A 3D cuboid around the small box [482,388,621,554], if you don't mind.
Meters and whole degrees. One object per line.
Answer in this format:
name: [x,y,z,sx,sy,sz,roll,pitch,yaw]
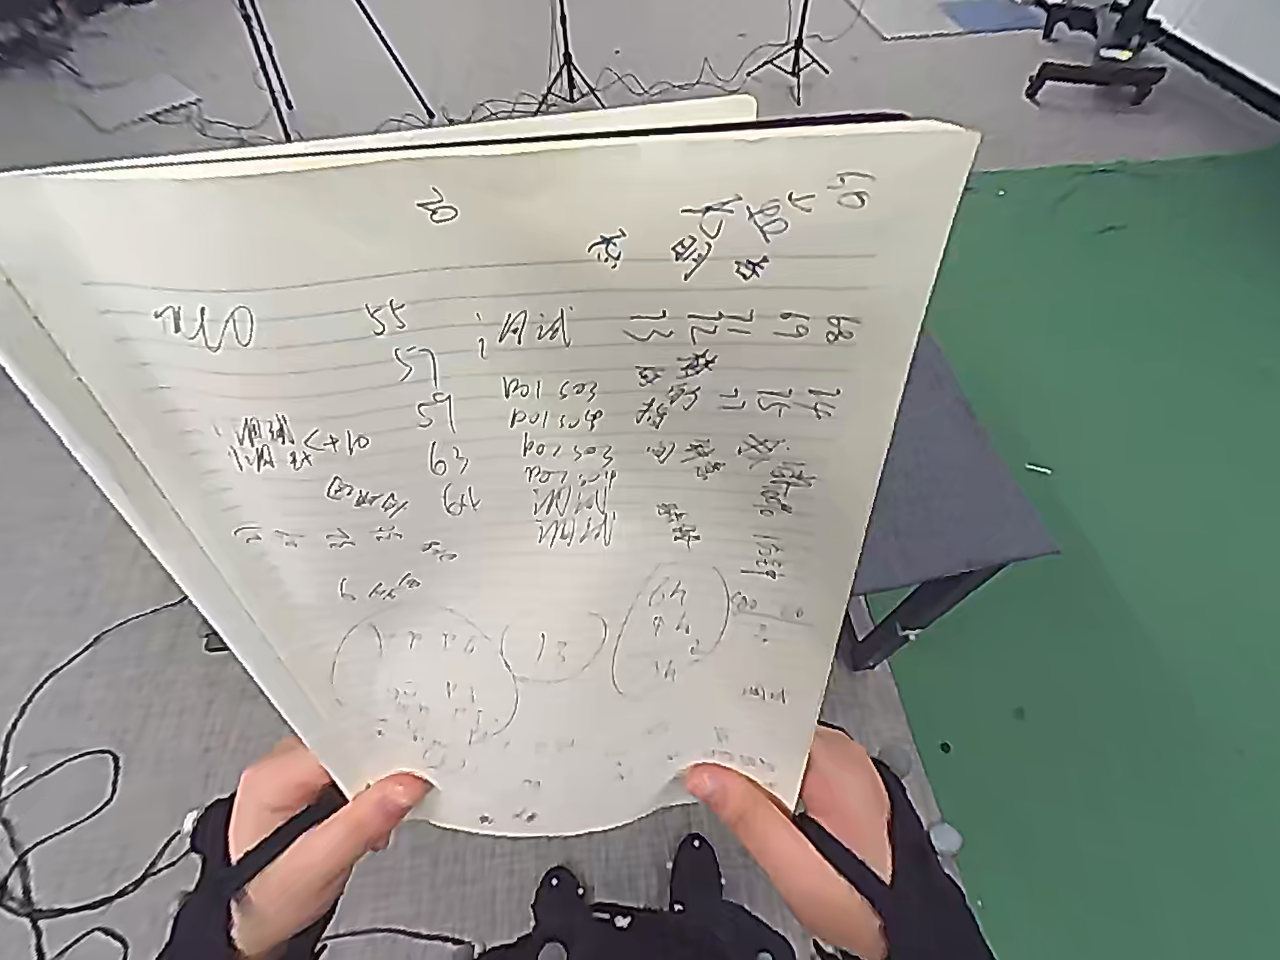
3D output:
small box: [-0.116,-0.010,0.786,0.168,0.176,0.179,-4,56,1]
